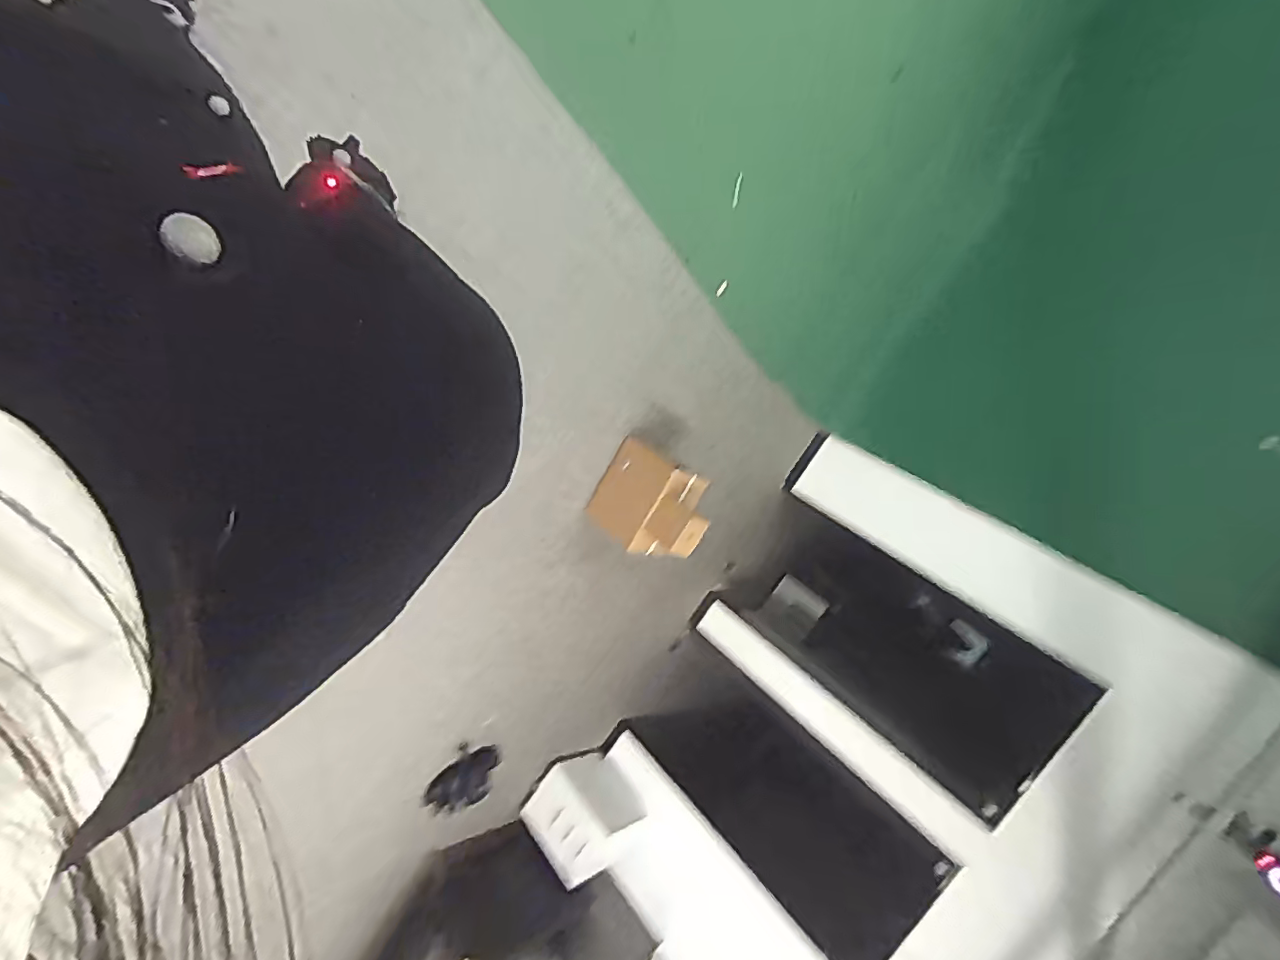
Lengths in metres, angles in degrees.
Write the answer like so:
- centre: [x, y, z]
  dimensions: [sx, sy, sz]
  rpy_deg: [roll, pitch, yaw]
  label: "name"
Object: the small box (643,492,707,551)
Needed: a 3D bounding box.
- centre: [0.143, 0.172, 2.255]
  dimensions: [0.168, 0.176, 0.179]
  rpy_deg: [21, 104, -54]
  label: "small box"
